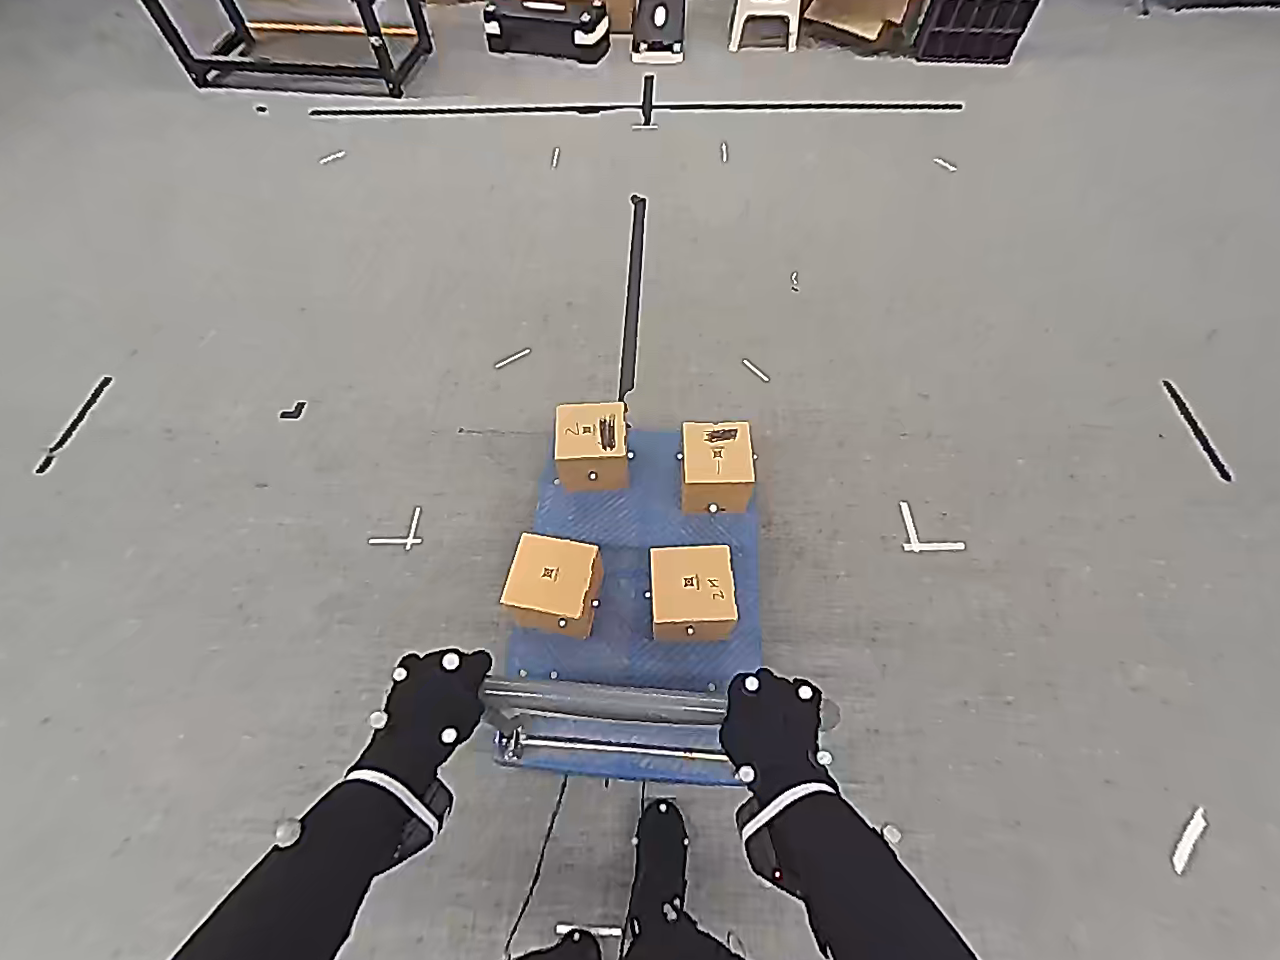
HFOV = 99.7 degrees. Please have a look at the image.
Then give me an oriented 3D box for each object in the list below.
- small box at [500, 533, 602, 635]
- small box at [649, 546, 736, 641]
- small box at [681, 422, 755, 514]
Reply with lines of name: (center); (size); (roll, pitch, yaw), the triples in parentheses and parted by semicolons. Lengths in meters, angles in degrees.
small box: (-0.192, 0.240, 1.223); (0.179, 0.176, 0.168); (9, 60, 5)
small box: (0.112, 0.257, 1.205); (0.179, 0.176, 0.168); (-2, 60, 1)
small box: (0.189, -0.029, 1.367); (0.168, 0.176, 0.179); (0, 61, 2)
